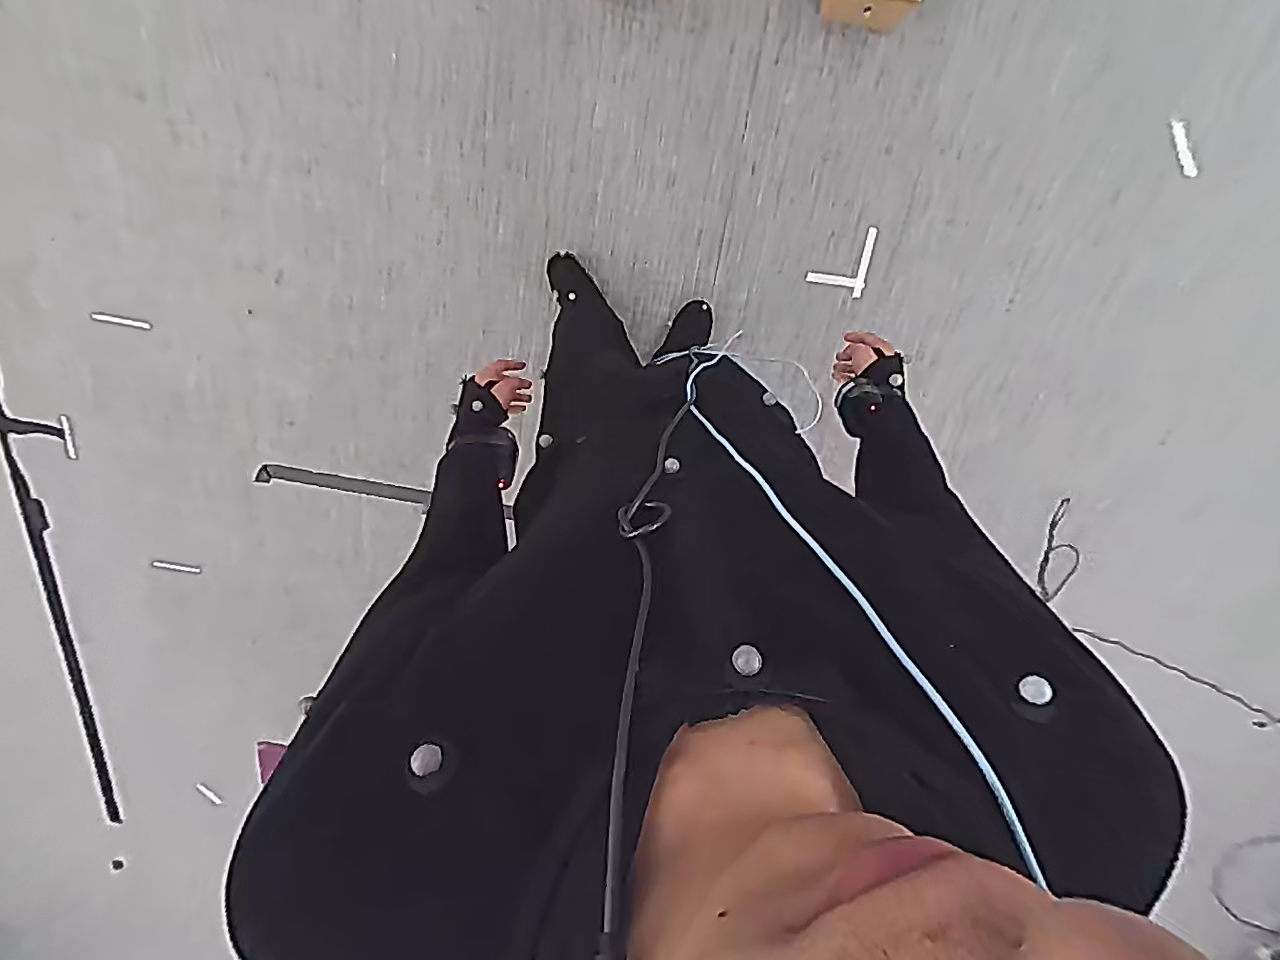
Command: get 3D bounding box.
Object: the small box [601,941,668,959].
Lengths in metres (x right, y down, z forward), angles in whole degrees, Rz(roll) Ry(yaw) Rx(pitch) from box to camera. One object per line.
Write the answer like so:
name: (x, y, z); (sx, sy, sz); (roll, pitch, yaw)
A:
small box: (-0.023, 1.259, 1.299); (0.168, 0.176, 0.179); (12, 111, -4)
